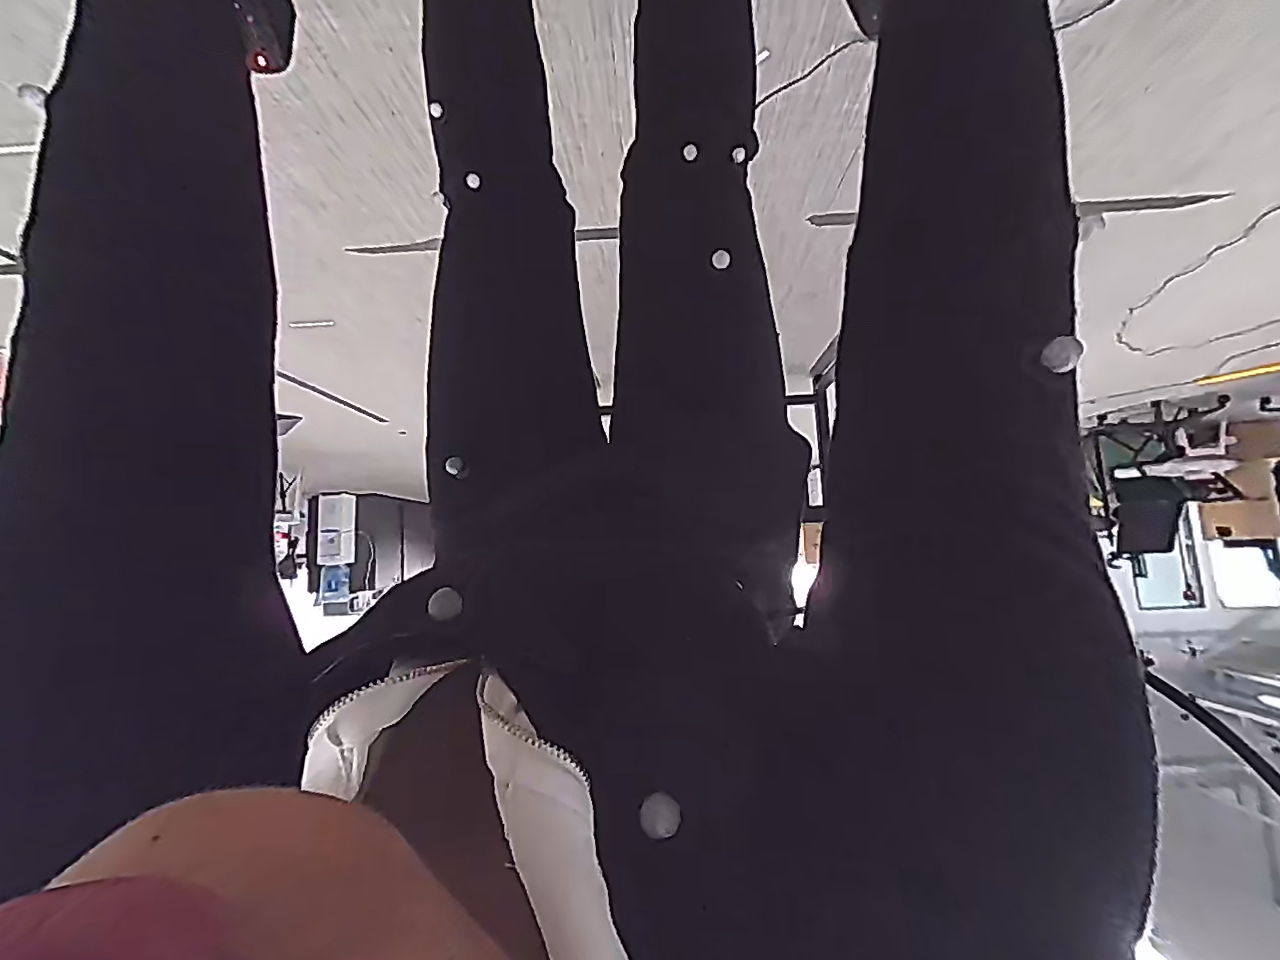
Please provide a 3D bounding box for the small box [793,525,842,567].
[{"bbox_3d":[0.753,0.279,2.306,0.168,0.176,0.179,-2,173,7],"label":"small box"}]
